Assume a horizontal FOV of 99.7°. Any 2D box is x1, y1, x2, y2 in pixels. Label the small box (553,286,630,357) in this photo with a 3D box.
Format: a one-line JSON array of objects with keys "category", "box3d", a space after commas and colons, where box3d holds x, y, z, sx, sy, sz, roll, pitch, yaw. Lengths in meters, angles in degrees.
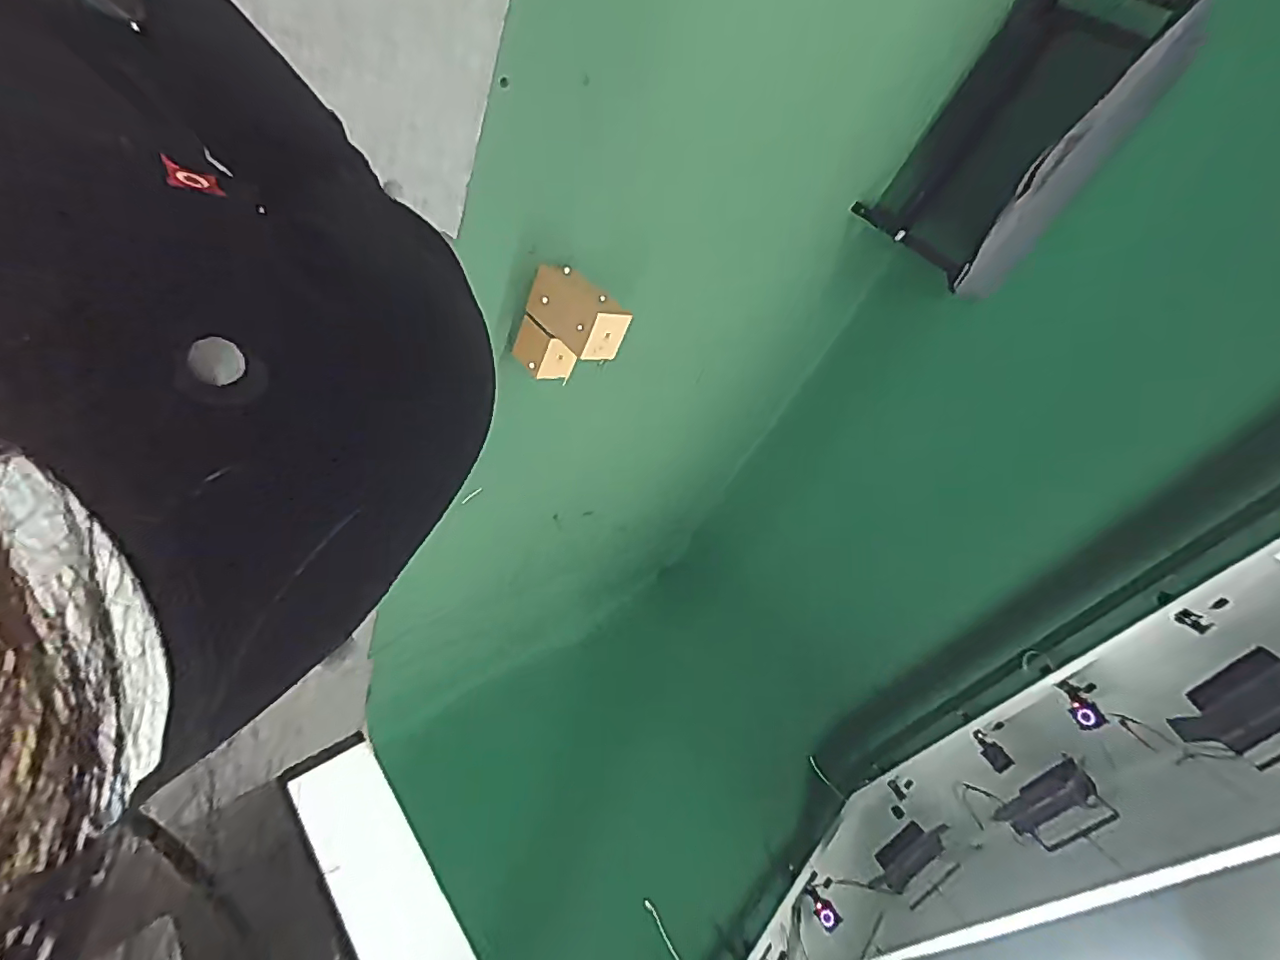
[{"category": "small box", "box3d": [-0.171, -0.542, 1.845, 0.168, 0.176, 0.179, -15, 144, -47]}]
